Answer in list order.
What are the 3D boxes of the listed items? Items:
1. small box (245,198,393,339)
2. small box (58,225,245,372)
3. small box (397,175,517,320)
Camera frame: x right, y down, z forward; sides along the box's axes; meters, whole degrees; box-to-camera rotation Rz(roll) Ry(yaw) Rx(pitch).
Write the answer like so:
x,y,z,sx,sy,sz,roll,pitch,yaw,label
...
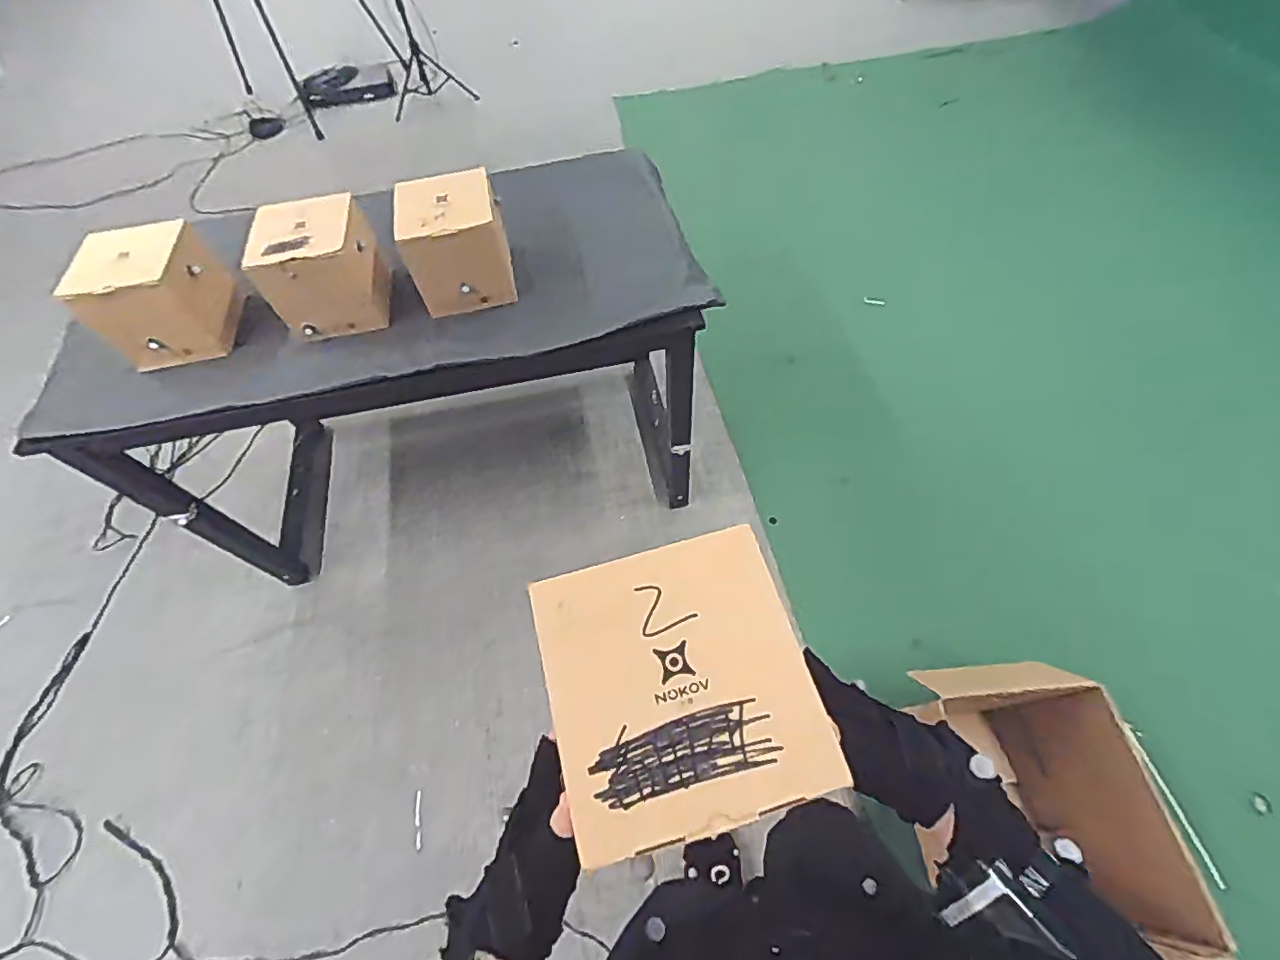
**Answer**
x,y,z,sx,sy,sz,roll,pitch,yaw,label
-0.571,-0.376,0.987,0.168,0.176,0.179,-11,58,-4,small box
-0.853,-0.322,0.970,0.168,0.176,0.179,-12,58,-5,small box
-0.334,-0.428,1.004,0.168,0.176,0.179,-13,59,-4,small box
